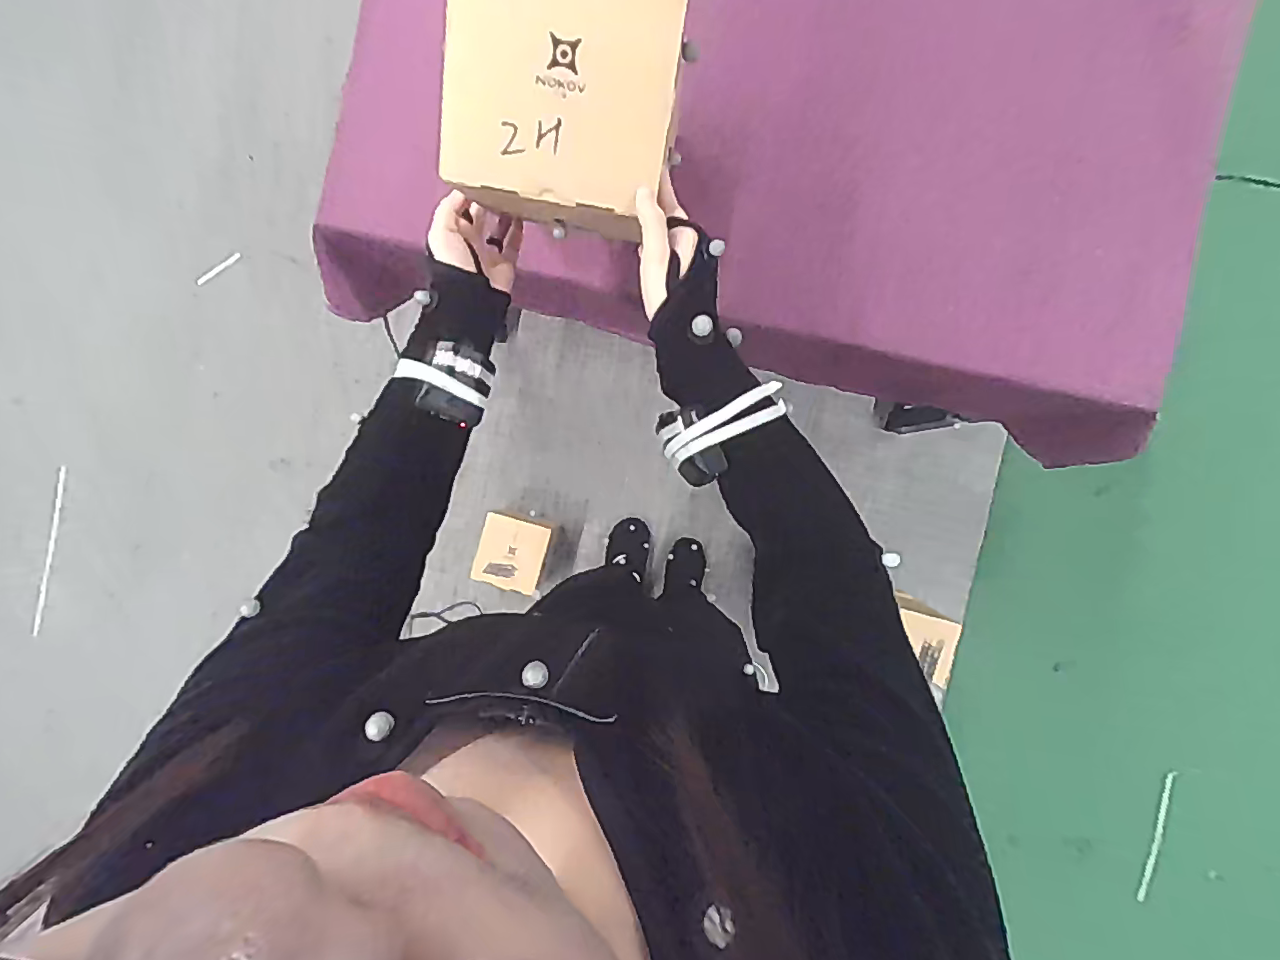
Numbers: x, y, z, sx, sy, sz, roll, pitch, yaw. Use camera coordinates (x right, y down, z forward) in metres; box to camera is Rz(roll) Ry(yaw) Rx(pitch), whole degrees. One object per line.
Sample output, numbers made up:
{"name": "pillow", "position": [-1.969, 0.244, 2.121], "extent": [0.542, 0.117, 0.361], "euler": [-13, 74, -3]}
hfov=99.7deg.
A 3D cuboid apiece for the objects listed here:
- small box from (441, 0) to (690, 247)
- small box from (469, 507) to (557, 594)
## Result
{"name": "small box", "position": [-0.059, -0.315, 0.467], "extent": [0.168, 0.176, 0.179], "euler": [8, 108, -4]}
{"name": "small box", "position": [-0.323, 0.177, 1.418], "extent": [0.168, 0.176, 0.179], "euler": [16, 90, -1]}
